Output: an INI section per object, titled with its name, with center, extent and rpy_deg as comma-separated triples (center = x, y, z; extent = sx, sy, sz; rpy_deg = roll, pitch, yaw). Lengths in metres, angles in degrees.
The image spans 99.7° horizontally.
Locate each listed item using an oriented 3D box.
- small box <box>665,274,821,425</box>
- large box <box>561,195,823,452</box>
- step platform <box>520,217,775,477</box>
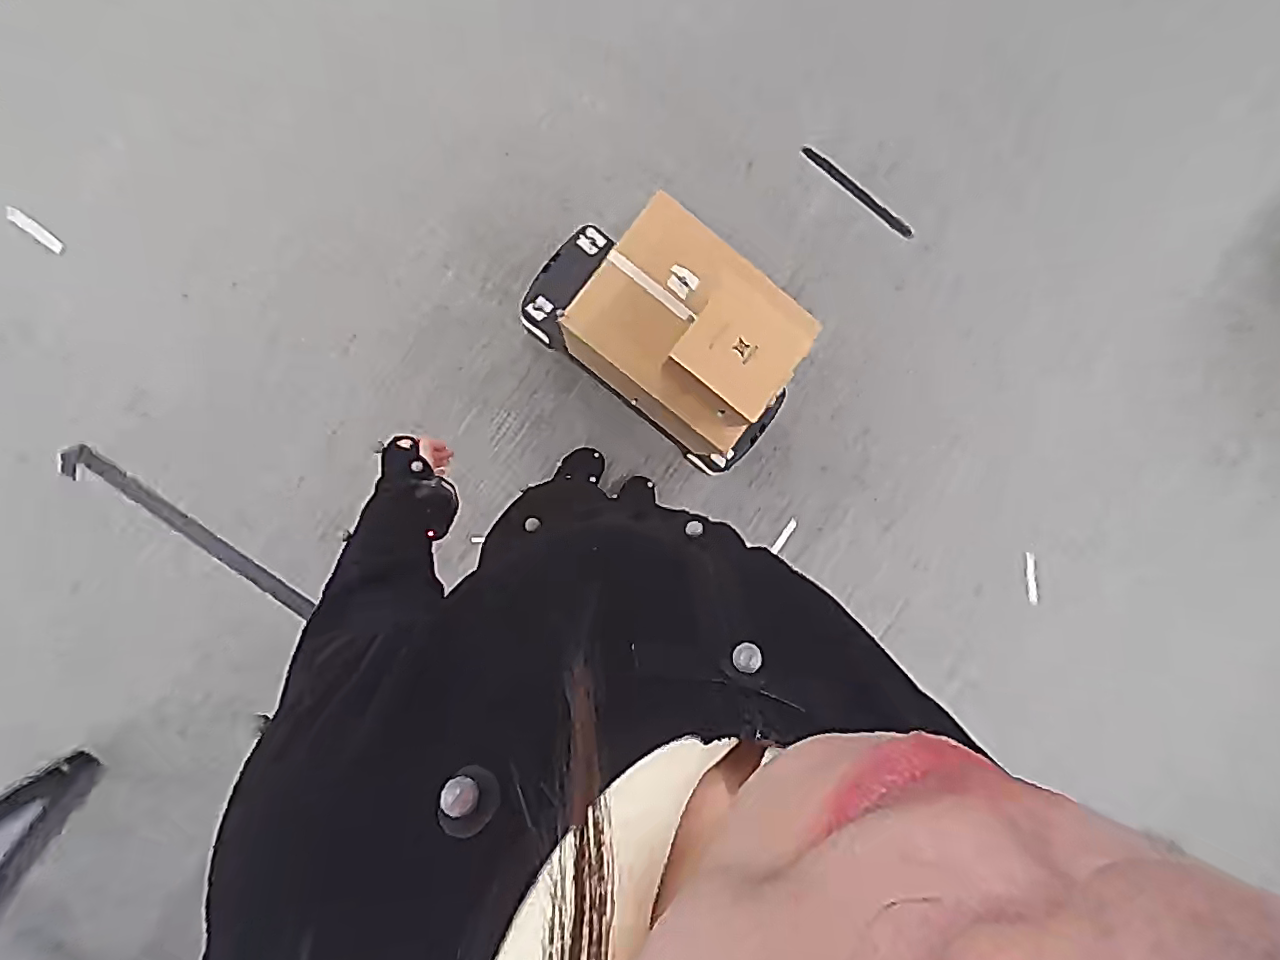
[small box]
center = 0.163, -0.209, 0.916
extent = 0.179, 0.176, 0.168
rpy_deg = 39, 90, -5
[large box]
center = 0.093, -0.294, 1.153
extent = 0.408, 0.320, 0.320
rpy_deg = 38, 89, -4
[step platform]
center = 0.021, -0.324, 1.385
extent = 0.684, 0.204, 0.286
rpy_deg = 44, 89, -4
